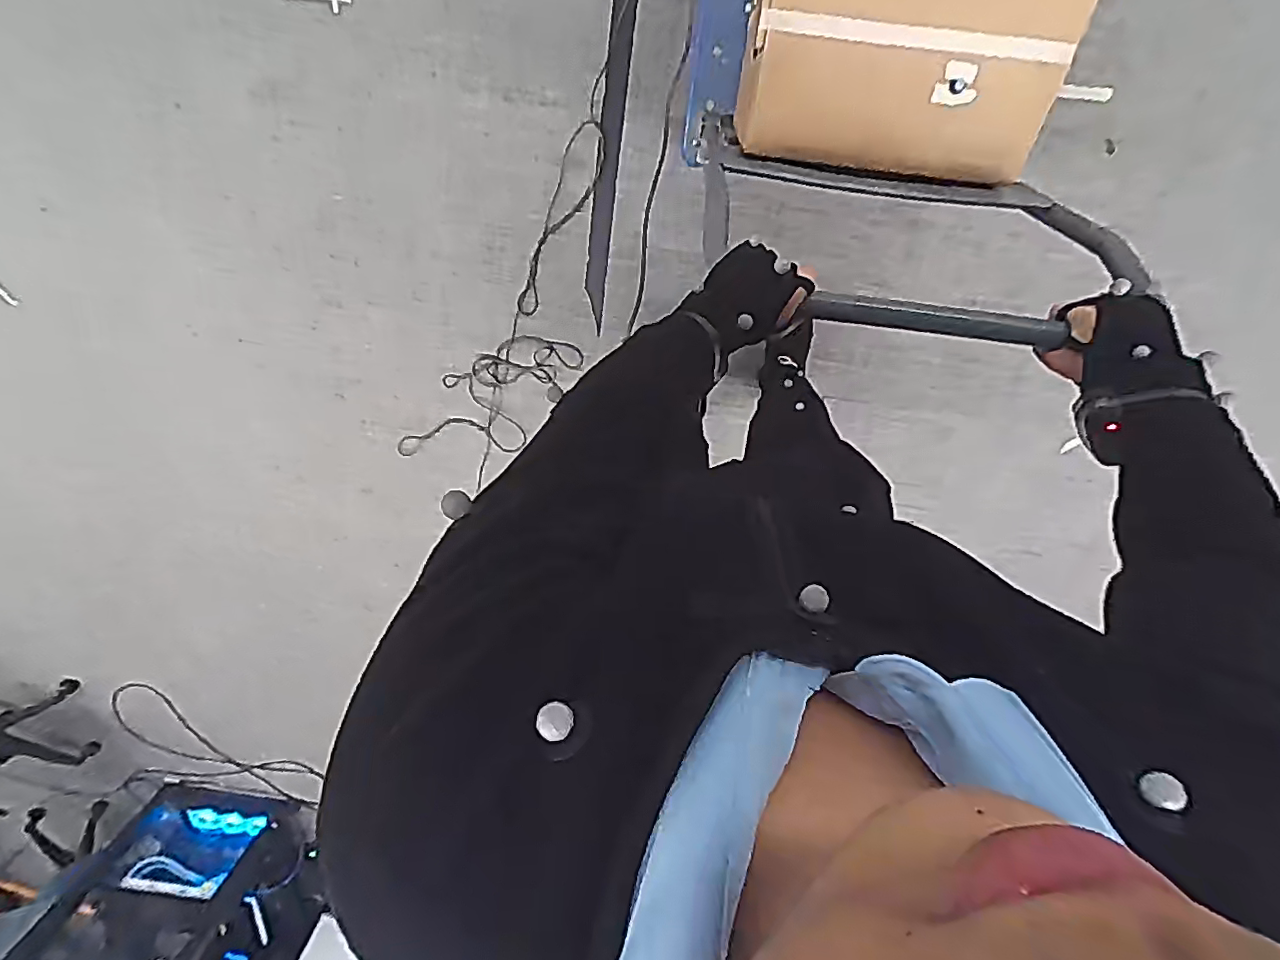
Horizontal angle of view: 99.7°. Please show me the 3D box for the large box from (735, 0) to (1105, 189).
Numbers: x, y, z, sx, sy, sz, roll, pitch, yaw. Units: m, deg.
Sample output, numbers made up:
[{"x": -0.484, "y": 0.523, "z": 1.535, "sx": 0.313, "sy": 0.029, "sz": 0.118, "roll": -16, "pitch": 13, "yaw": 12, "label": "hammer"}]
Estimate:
[{"x": 0.376, "y": -0.654, "z": 0.817, "sx": 0.408, "sy": 0.320, "sz": 0.320, "roll": 6, "pitch": 128, "yaw": 0, "label": "large box"}]
